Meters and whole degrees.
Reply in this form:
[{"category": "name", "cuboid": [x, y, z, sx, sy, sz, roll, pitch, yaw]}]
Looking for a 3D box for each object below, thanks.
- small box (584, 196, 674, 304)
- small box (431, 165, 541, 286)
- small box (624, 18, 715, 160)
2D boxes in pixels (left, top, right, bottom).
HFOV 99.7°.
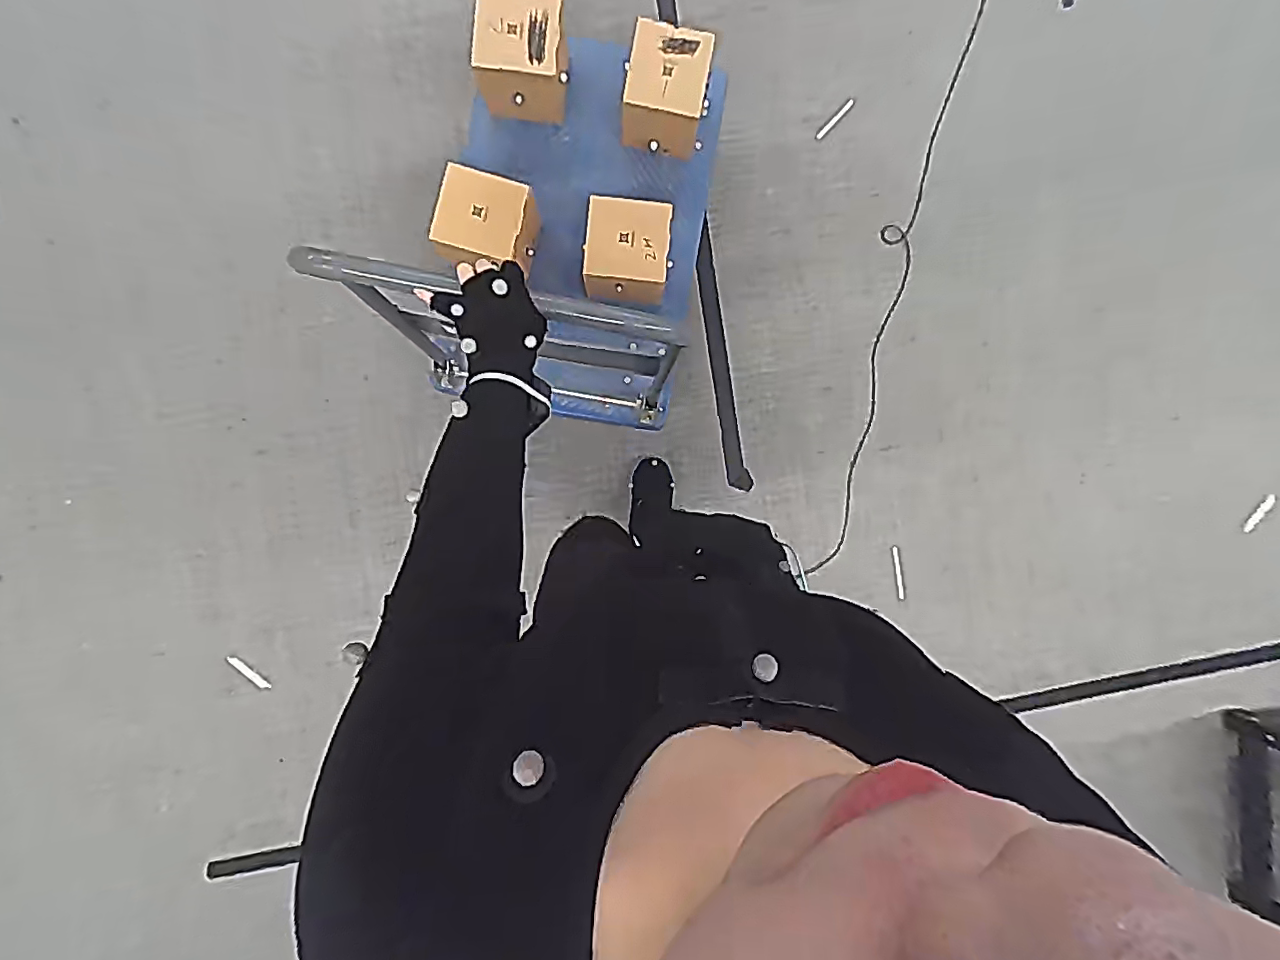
[{"category": "small box", "cuboid": [-0.026, -0.503, 1.205, 0.179, 0.176, 0.168, 5, 92, -2]}, {"category": "small box", "cuboid": [-0.330, -0.549, 1.192, 0.179, 0.176, 0.168, 14, 90, -4]}, {"category": "small box", "cuboid": [0.058, -0.854, 1.197, 0.168, 0.176, 0.179, 11, 92, -2]}]
